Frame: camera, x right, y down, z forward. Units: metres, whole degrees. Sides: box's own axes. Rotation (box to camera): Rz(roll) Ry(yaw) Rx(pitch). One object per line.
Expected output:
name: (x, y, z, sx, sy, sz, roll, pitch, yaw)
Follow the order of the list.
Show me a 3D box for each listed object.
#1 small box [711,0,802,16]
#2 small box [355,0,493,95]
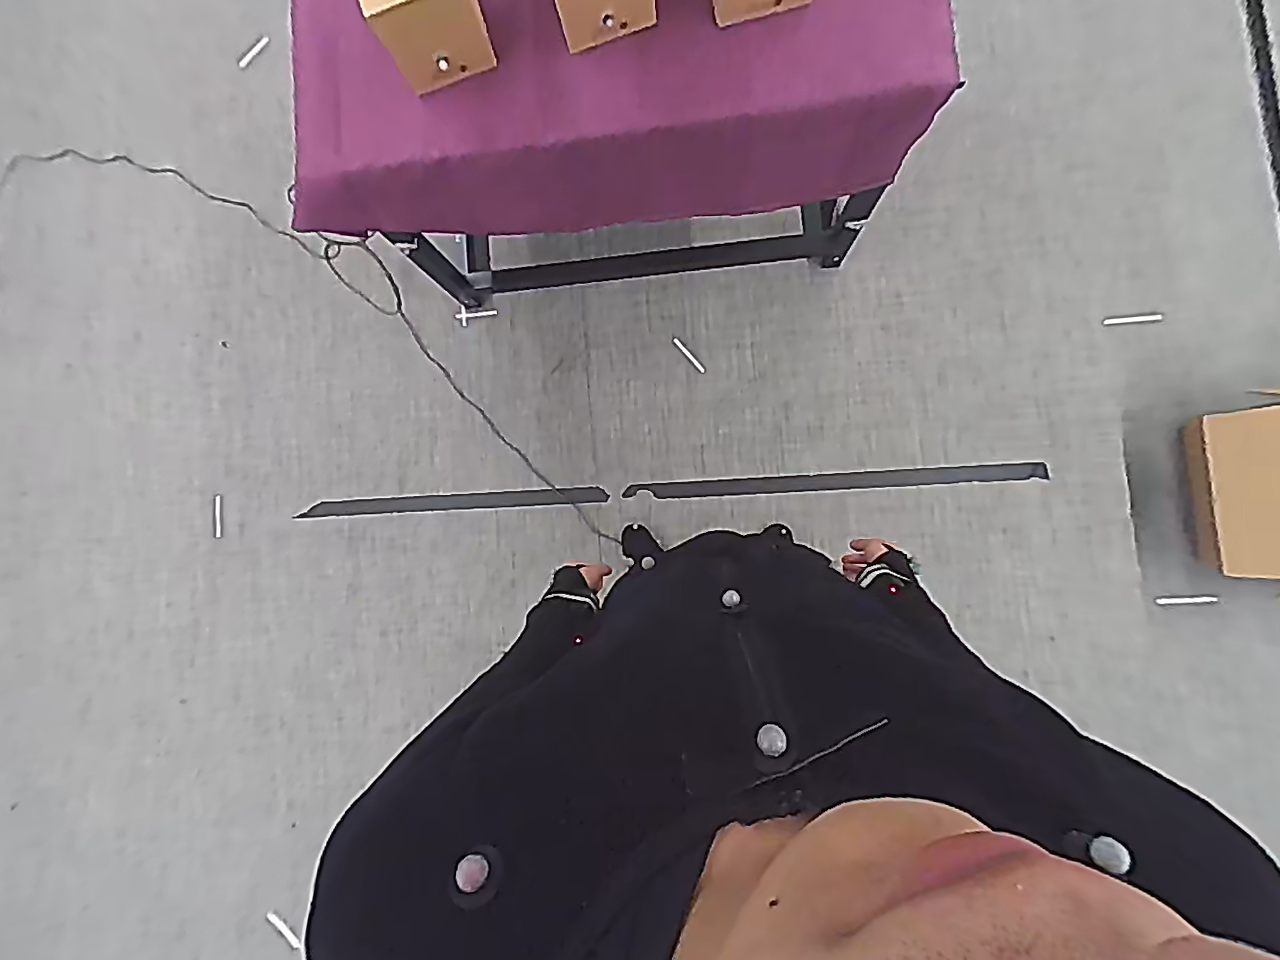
small box: (0.190, -0.900, 0.869, 0.168, 0.176, 0.179, -11, 85, 5)
small box: (-0.375, -0.817, 0.922, 0.168, 0.176, 0.179, -18, 86, 5)
